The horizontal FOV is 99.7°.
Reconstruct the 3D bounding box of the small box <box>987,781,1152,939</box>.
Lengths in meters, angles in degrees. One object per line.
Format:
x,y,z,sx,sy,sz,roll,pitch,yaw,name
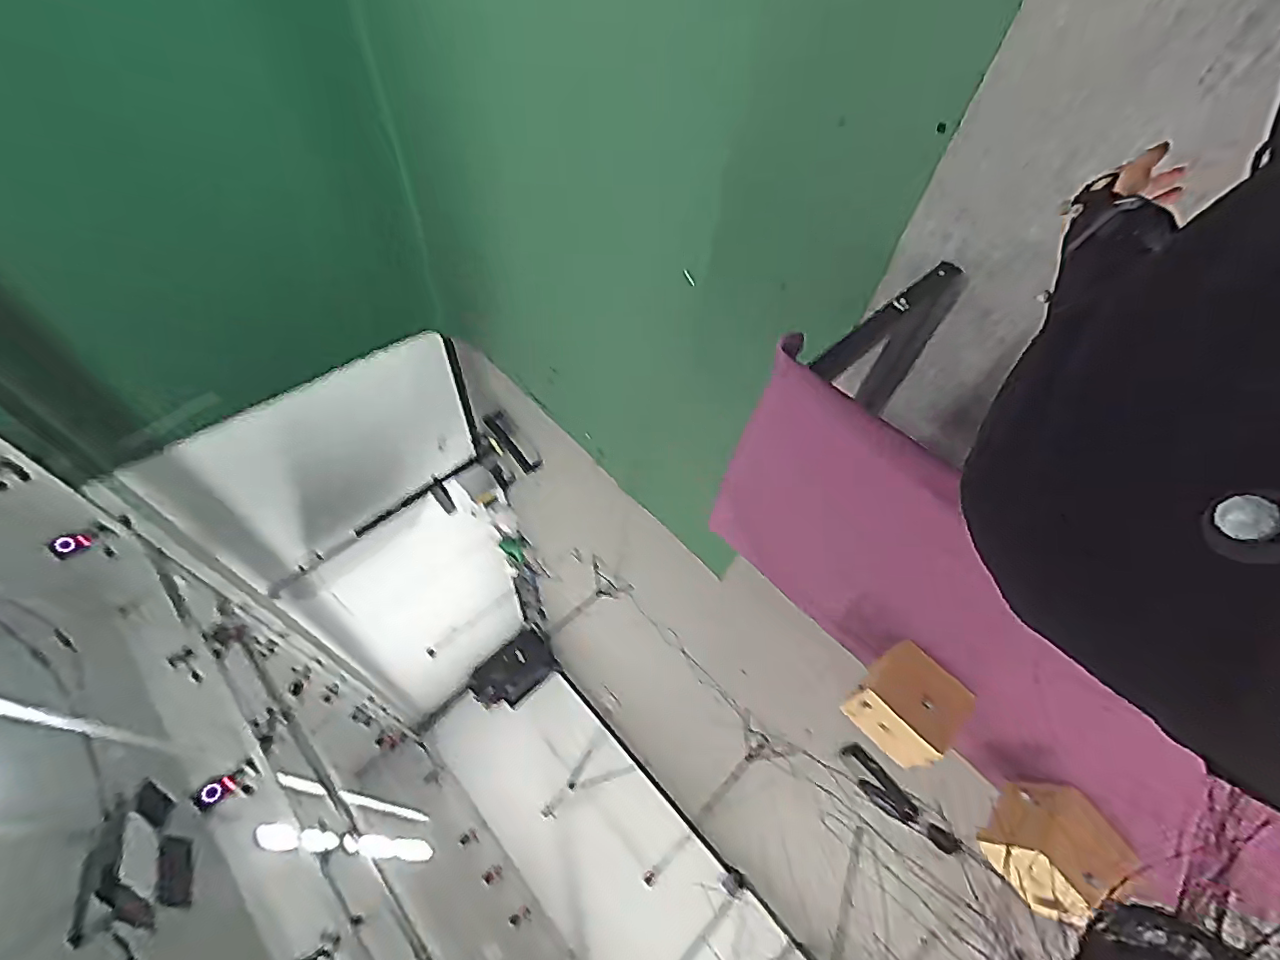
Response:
0.857,0.744,1.081,0.179,0.176,0.168,49,152,11,small box

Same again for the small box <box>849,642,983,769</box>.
0.606,0.494,1.189,0.179,0.176,0.168,41,150,21,small box
